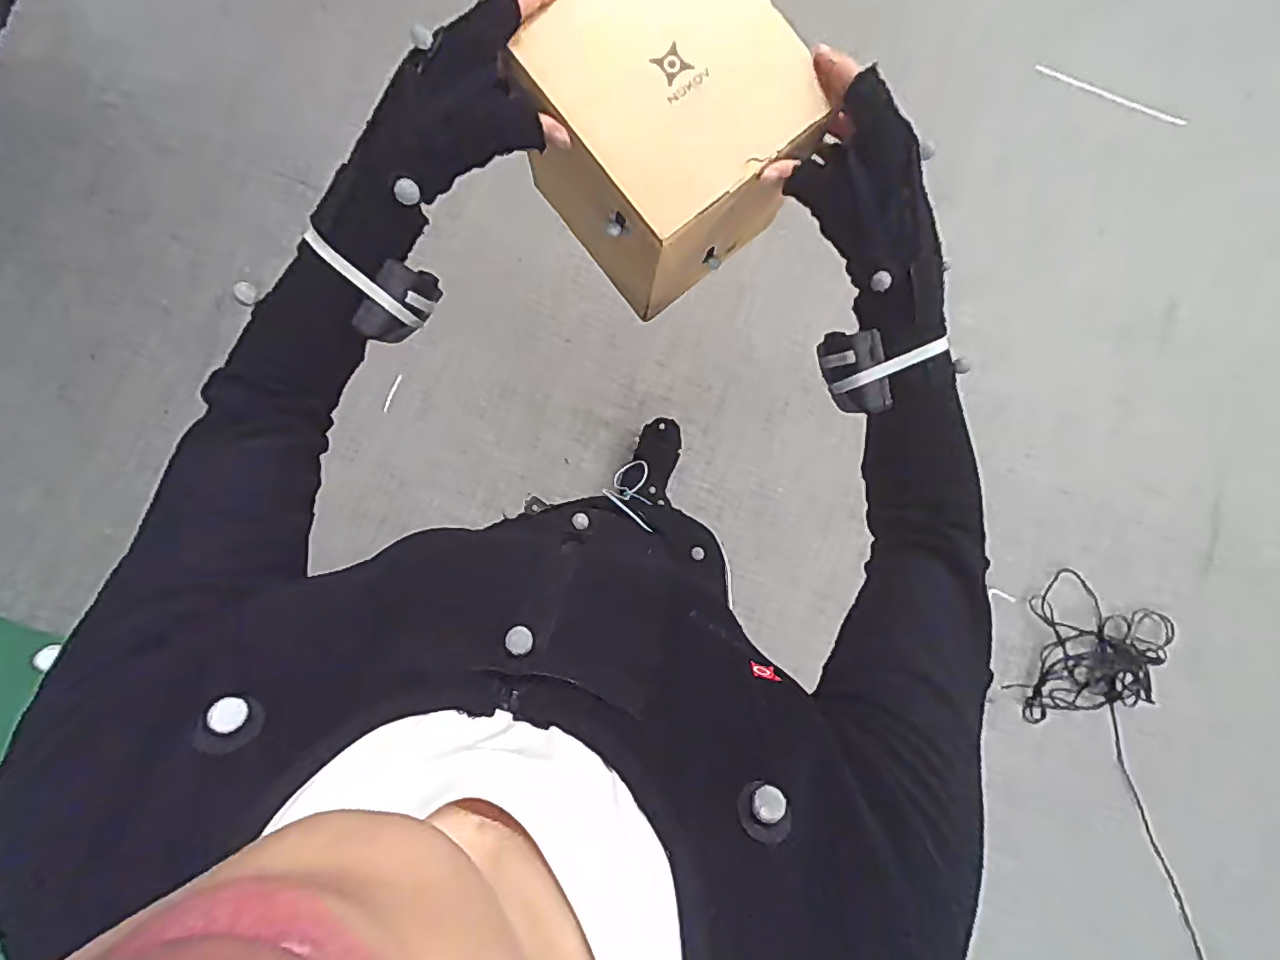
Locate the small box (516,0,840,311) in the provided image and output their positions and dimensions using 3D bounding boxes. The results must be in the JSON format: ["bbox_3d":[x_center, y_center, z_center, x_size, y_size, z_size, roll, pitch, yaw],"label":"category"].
[{"bbox_3d":[0.022,-0.278,0.457,0.168,0.176,0.179,-39,92,-4],"label":"small box"}]
